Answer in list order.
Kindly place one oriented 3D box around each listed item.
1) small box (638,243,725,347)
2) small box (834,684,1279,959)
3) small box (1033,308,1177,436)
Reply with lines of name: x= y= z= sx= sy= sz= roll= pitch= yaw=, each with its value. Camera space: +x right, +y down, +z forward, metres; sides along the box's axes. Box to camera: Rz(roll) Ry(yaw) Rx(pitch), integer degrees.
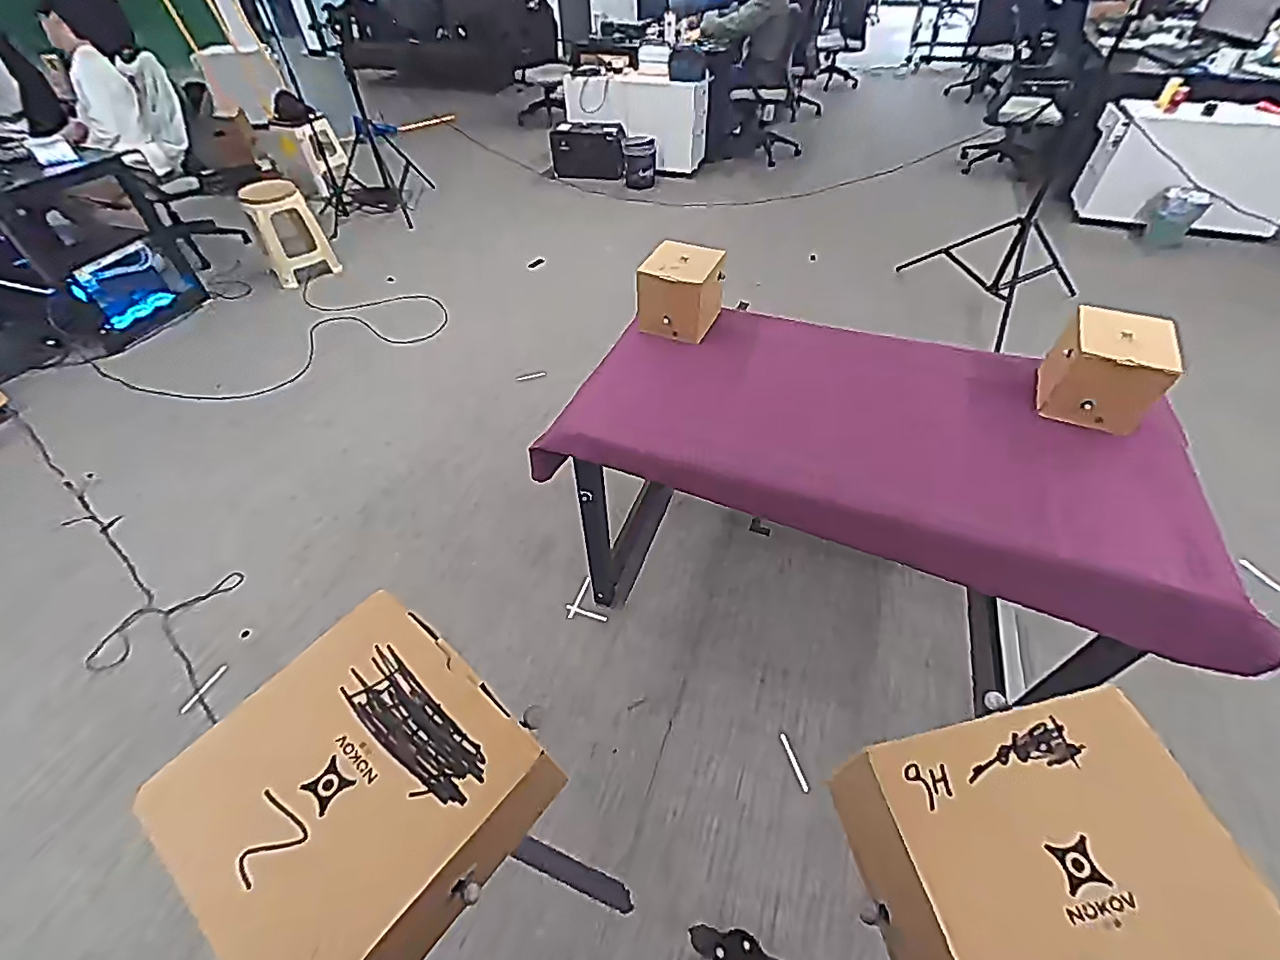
small box: x=0.102 y=-0.468 z=1.368 sx=0.168 sy=0.176 sz=0.179 roll=18 pitch=52 yaw=17
small box: x=0.250 y=0.260 z=0.358 sx=0.168 sy=0.176 sz=0.179 roll=-14 pitch=54 yaw=-2
small box: x=0.951 y=-0.224 z=1.125 sx=0.168 sy=0.176 sz=0.179 roll=19 pitch=55 yaw=18
